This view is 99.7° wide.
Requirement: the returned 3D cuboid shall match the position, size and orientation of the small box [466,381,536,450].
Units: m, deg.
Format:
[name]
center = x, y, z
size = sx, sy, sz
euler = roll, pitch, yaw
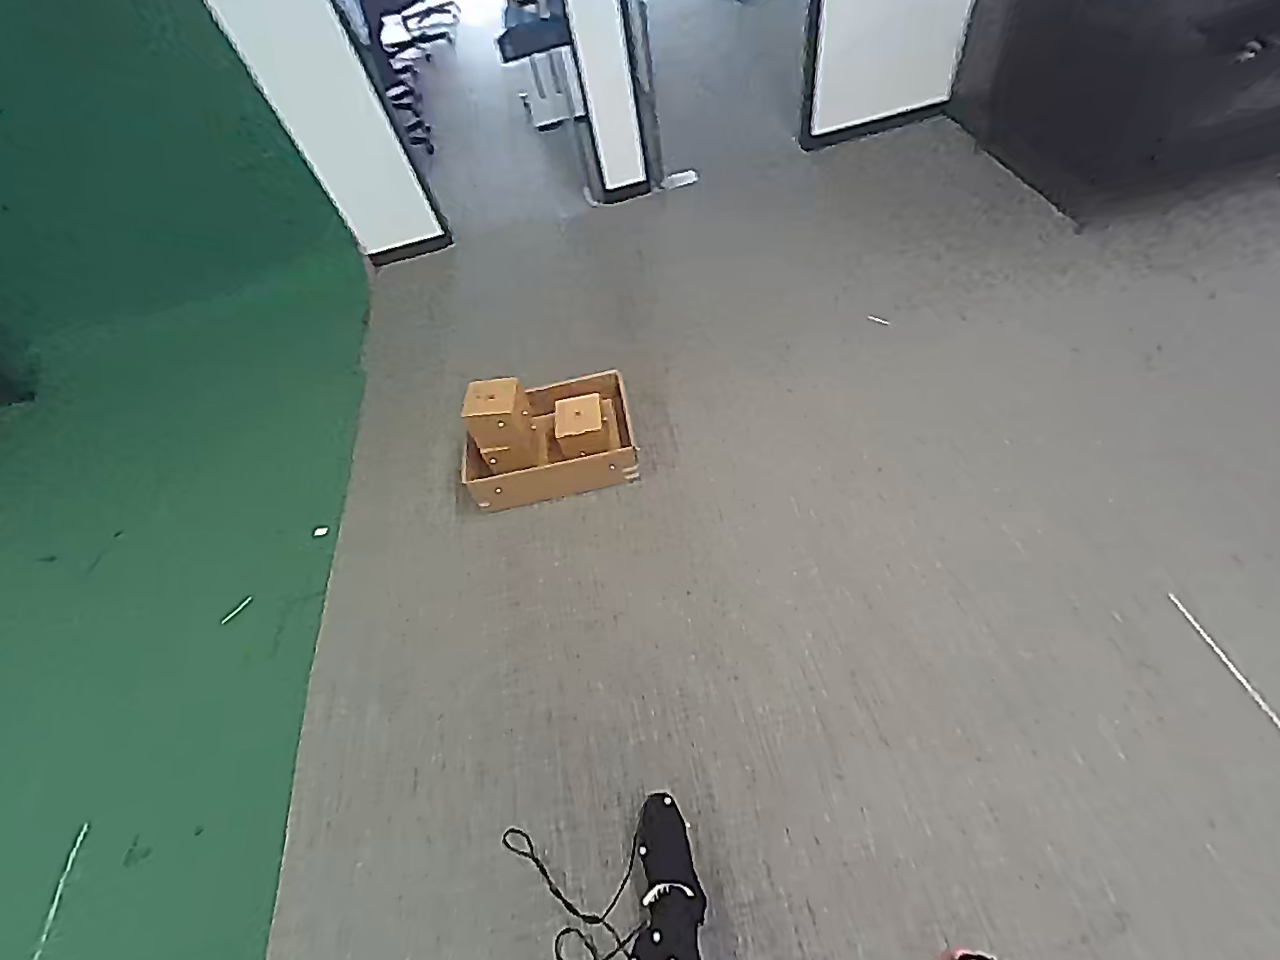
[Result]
[small box]
center = -0.475, -0.221, 1.881
size = 0.179, 0.176, 0.168
euler = -4, 53, 7
